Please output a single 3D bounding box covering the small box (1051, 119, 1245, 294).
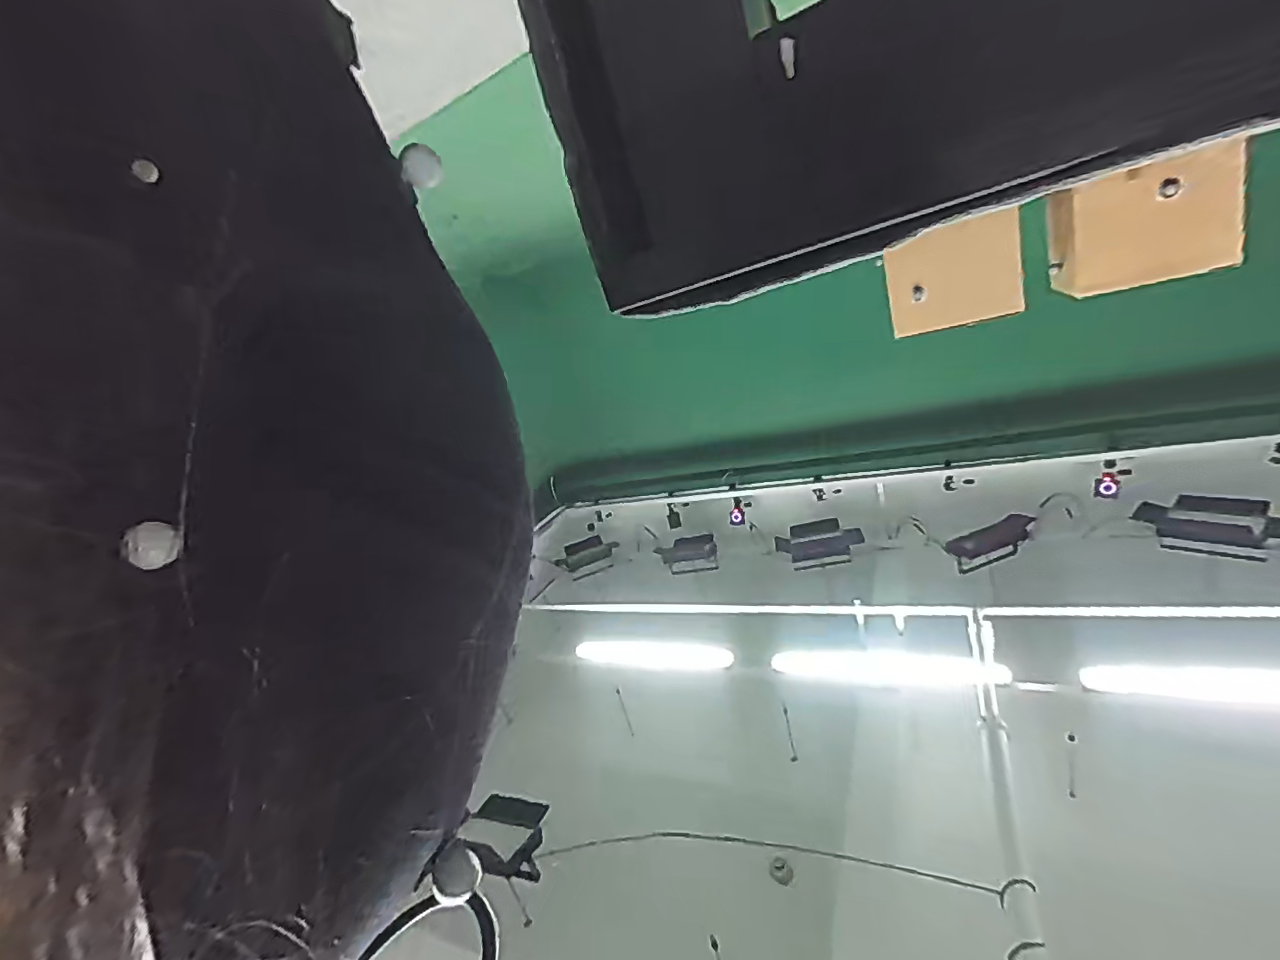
[{"bbox_3d":[0.693,-0.373,0.755,0.168,0.176,0.179,-7,-161,29],"label":"small box"}]
